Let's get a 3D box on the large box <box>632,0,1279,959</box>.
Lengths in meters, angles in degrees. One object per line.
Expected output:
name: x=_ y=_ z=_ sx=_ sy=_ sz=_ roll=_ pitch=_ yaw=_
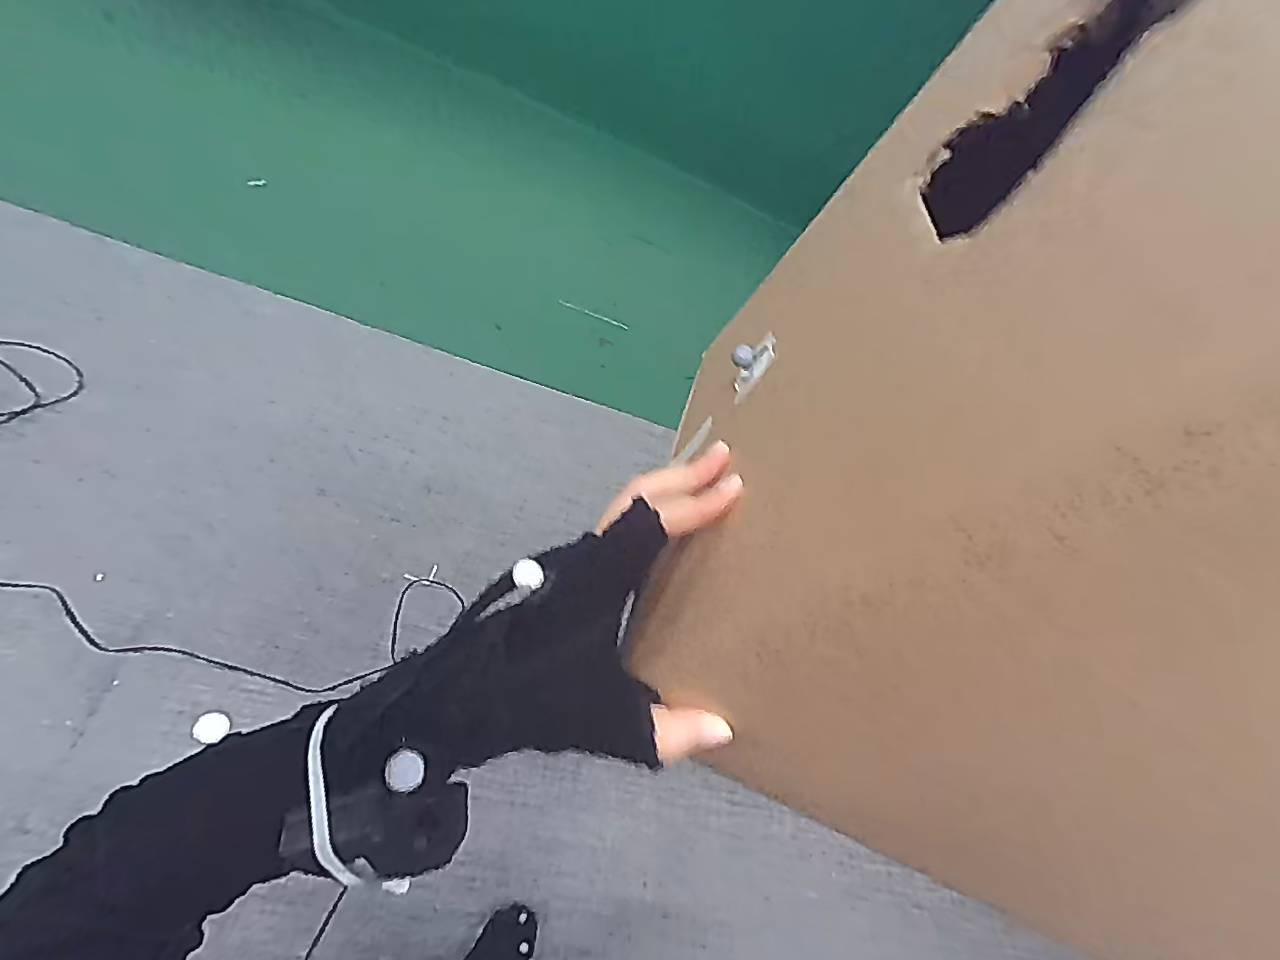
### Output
large box: x=0.261 y=0.021 z=0.298 sx=0.408 sy=0.320 sz=0.320 roll=32 pitch=44 yaw=-12
